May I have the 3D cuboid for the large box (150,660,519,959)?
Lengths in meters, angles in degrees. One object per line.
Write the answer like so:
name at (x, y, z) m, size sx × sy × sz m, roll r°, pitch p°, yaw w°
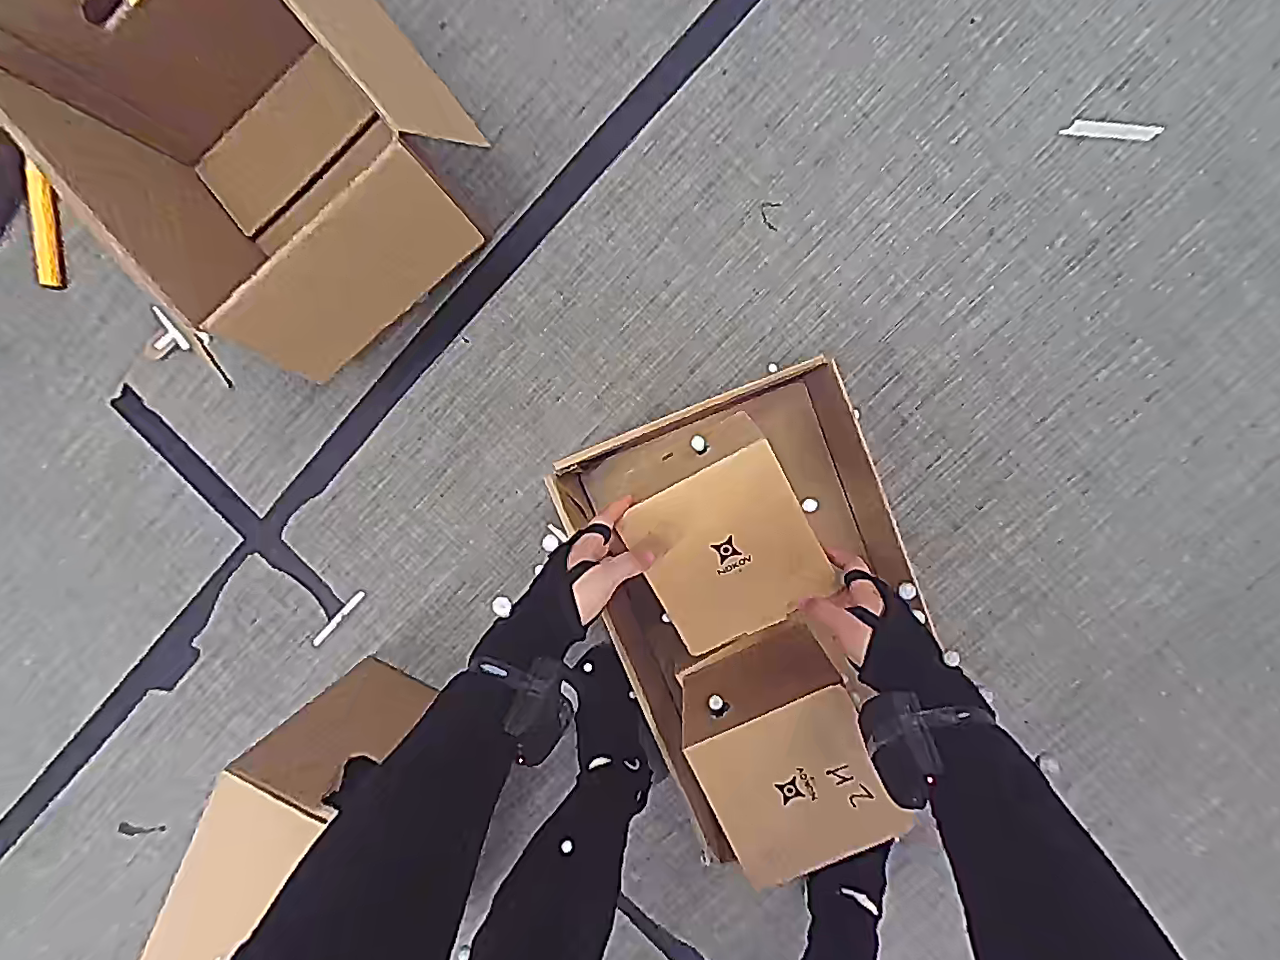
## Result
large box at (-0.432, 0.564, 0.818) m, size 0.320 × 0.320 × 0.408 m, roll 26°, pitch 98°, yaw 1°

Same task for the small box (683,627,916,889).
small box at (0.161, 0.292, 0.605) m, size 0.179 × 0.176 × 0.168 m, roll -26°, pitch 92°, yaw 5°
